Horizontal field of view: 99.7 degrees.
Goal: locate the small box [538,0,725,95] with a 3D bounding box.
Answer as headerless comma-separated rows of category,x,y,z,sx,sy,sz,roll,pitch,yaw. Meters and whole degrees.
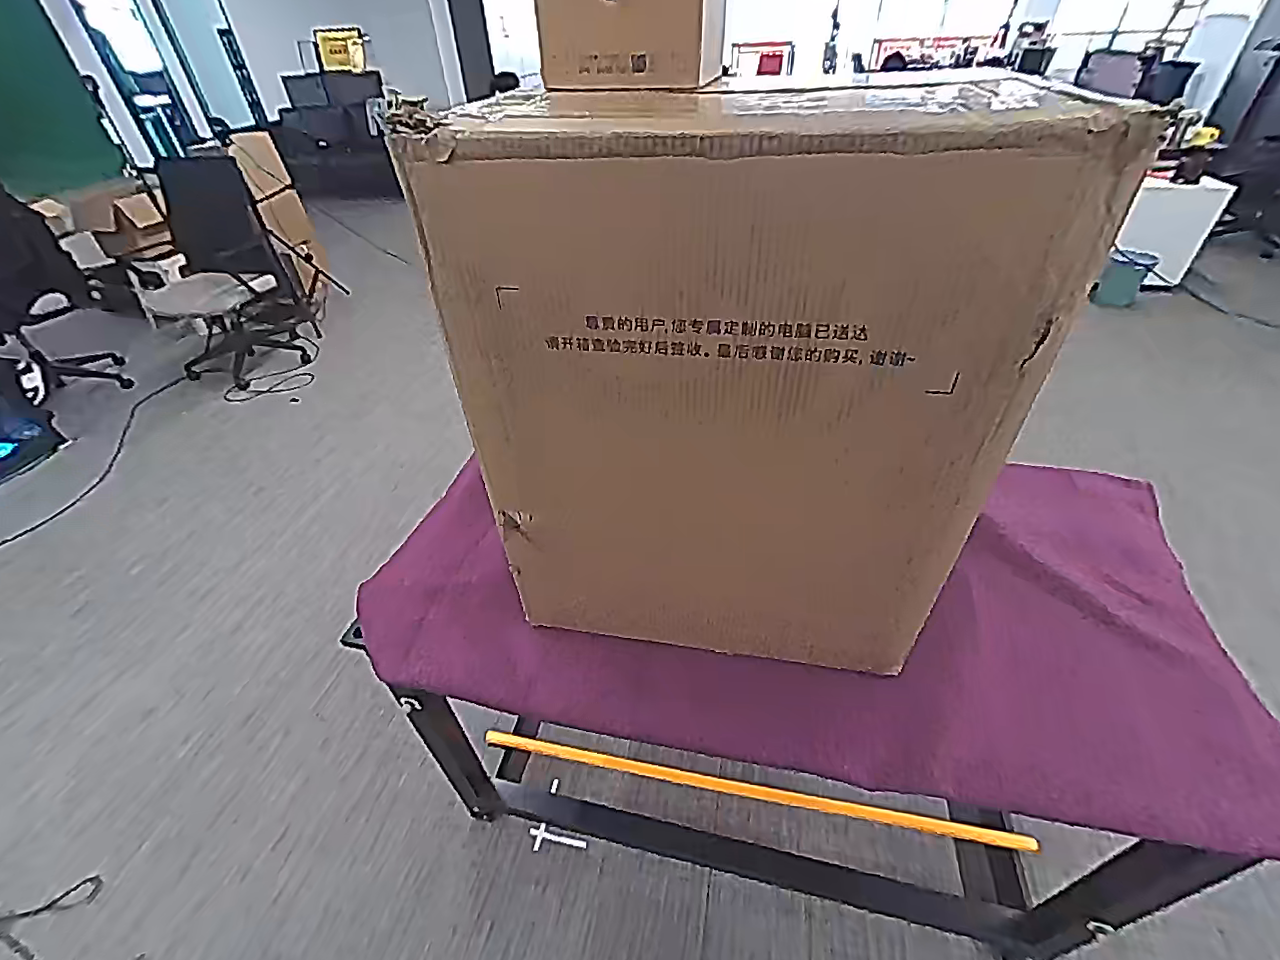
small box,-0.002,-0.508,0.560,0.168,0.176,0.179,8,41,11
